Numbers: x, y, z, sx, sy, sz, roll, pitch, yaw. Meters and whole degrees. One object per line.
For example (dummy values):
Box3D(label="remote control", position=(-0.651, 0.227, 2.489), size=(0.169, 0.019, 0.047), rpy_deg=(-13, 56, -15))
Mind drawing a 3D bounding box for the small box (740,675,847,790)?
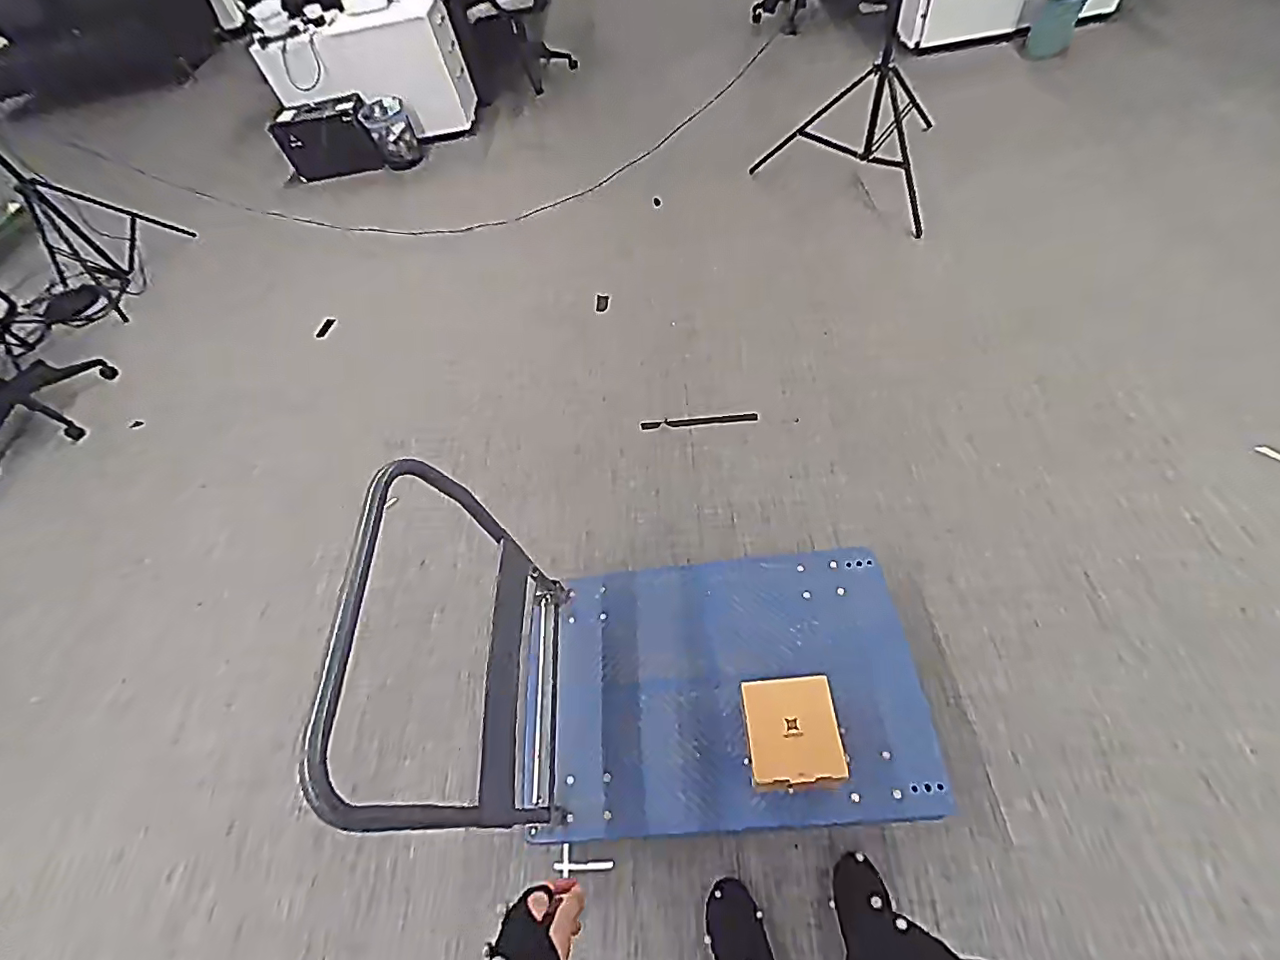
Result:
Box3D(label="small box", position=(0.291, 0.501, 1.067), size=(0.168, 0.176, 0.179), rpy_deg=(-8, 56, 5))
